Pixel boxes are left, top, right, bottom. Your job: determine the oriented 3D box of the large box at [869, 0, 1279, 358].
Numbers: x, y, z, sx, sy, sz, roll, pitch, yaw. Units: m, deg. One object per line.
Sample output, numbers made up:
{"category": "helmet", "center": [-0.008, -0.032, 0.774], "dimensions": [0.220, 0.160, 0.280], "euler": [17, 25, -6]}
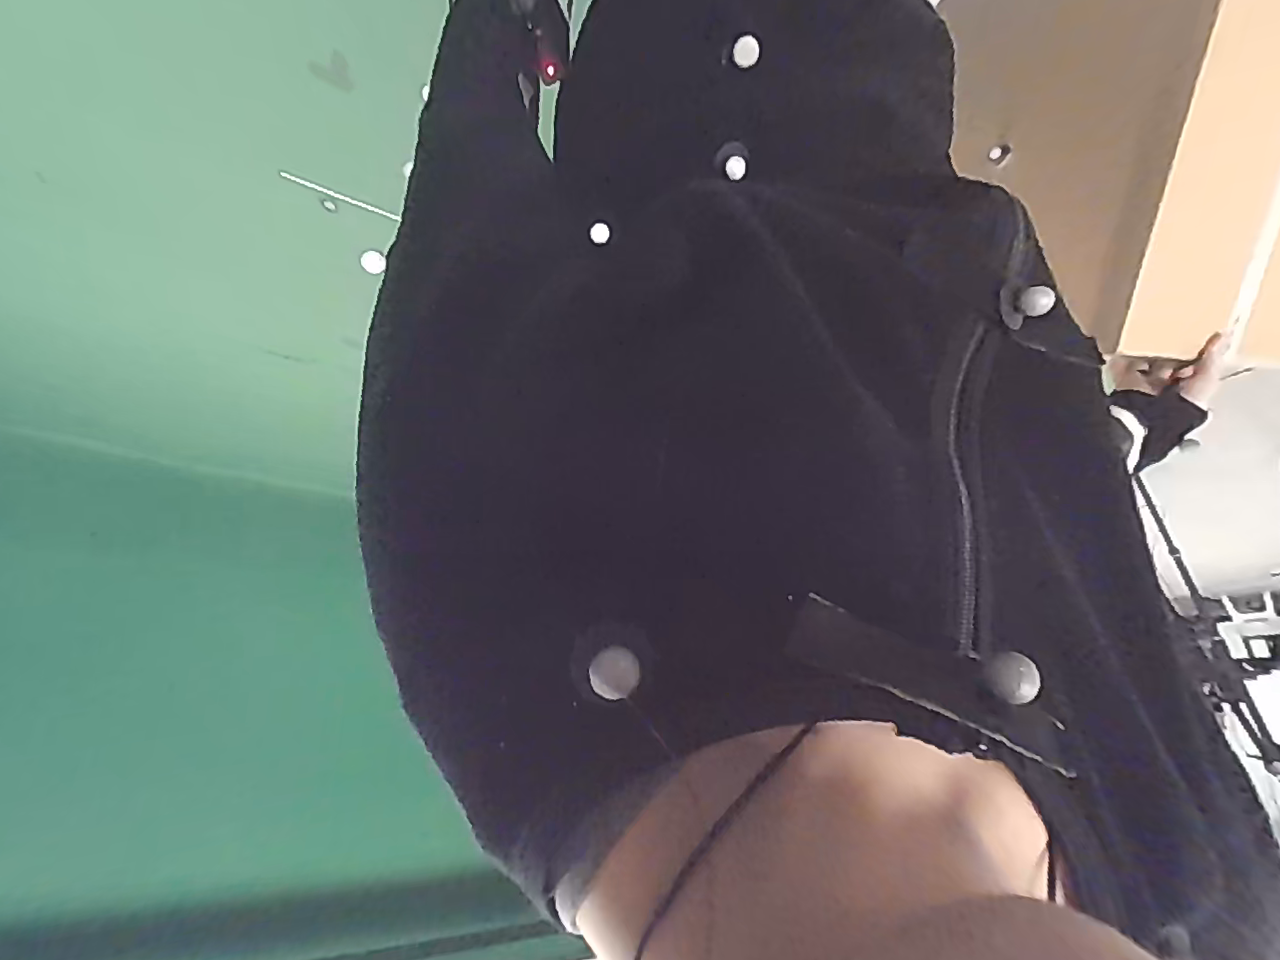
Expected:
{"category": "large box", "center": [0.523, -0.360, 0.634], "dimensions": [0.320, 0.408, 0.320], "euler": [-2, -163, -20]}
